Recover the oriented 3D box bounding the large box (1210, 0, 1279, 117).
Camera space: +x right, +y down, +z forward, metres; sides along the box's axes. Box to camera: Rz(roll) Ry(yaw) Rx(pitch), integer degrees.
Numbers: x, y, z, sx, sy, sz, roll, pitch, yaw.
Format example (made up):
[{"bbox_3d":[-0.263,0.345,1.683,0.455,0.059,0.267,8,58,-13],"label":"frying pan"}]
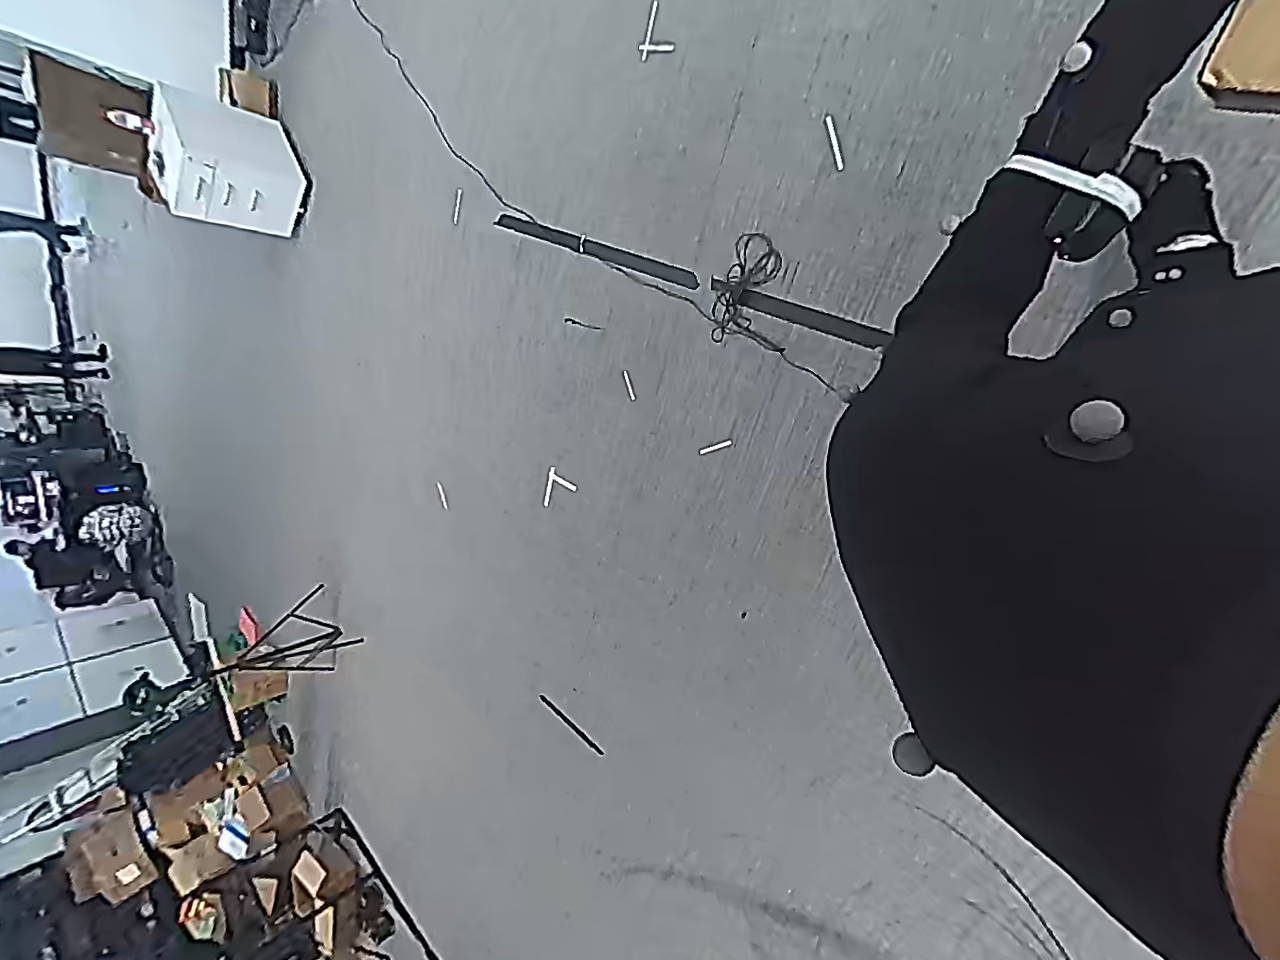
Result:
[{"bbox_3d":[0.609,-0.345,0.244,0.408,0.320,0.320,31,134,31],"label":"large box"}]
